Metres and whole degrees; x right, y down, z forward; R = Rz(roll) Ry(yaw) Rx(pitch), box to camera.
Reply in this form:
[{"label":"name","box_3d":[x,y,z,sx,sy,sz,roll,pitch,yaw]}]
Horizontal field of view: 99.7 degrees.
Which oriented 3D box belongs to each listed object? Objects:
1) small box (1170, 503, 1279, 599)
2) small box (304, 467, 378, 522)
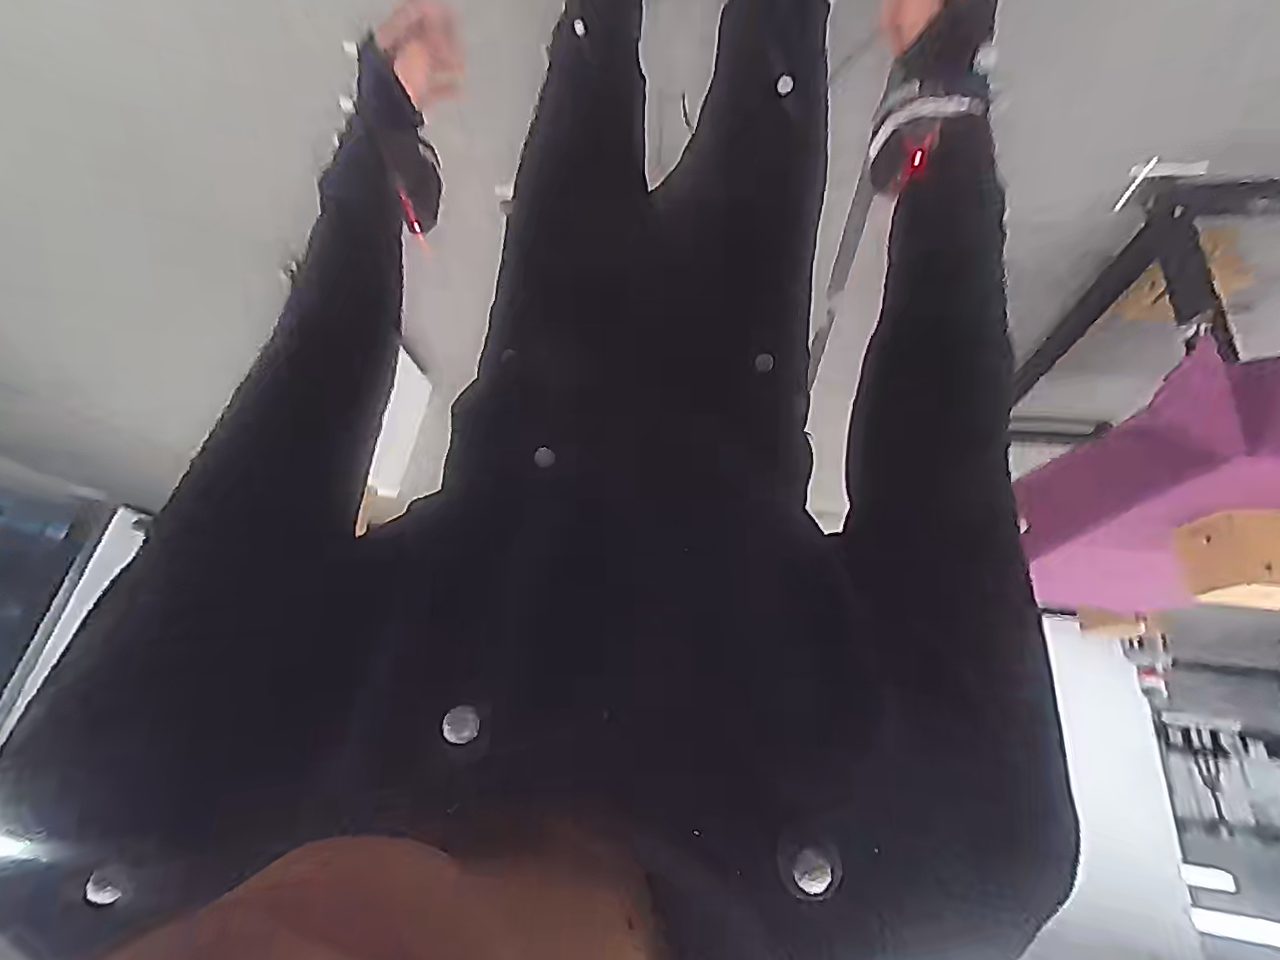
[{"label":"small box","box_3d":[1.321,0.154,1.172,0.179,0.176,0.168,4,158,10]},{"label":"small box","box_3d":[-1.185,0.056,2.156,0.179,0.176,0.168,6,159,7]}]
